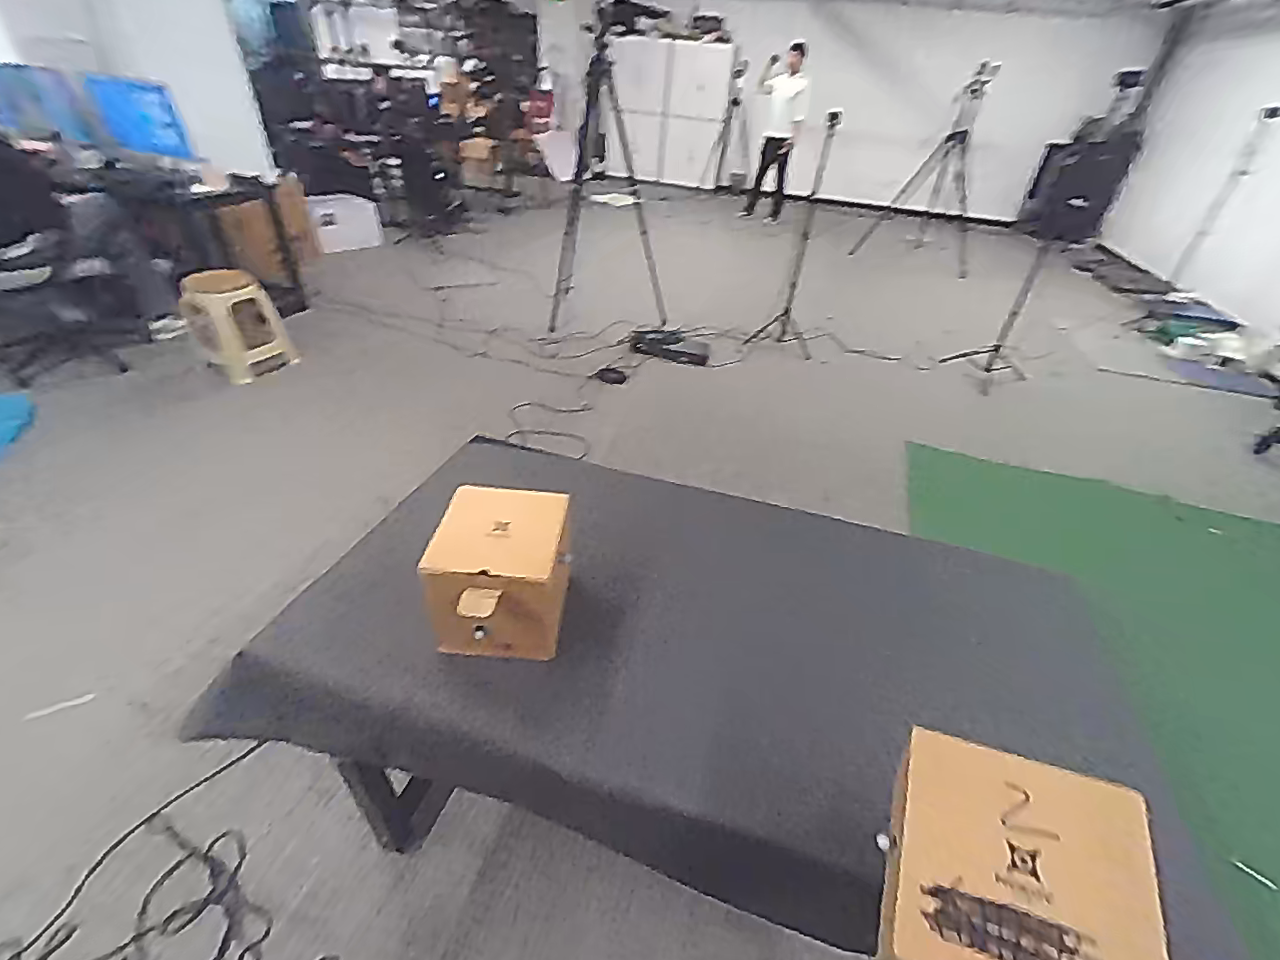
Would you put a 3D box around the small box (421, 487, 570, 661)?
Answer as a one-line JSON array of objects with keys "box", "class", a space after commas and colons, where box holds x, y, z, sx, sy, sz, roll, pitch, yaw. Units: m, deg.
[{"box": [-0.197, 0.134, 0.786, 0.168, 0.176, 0.179, 5, 37, -1], "class": "small box"}]
